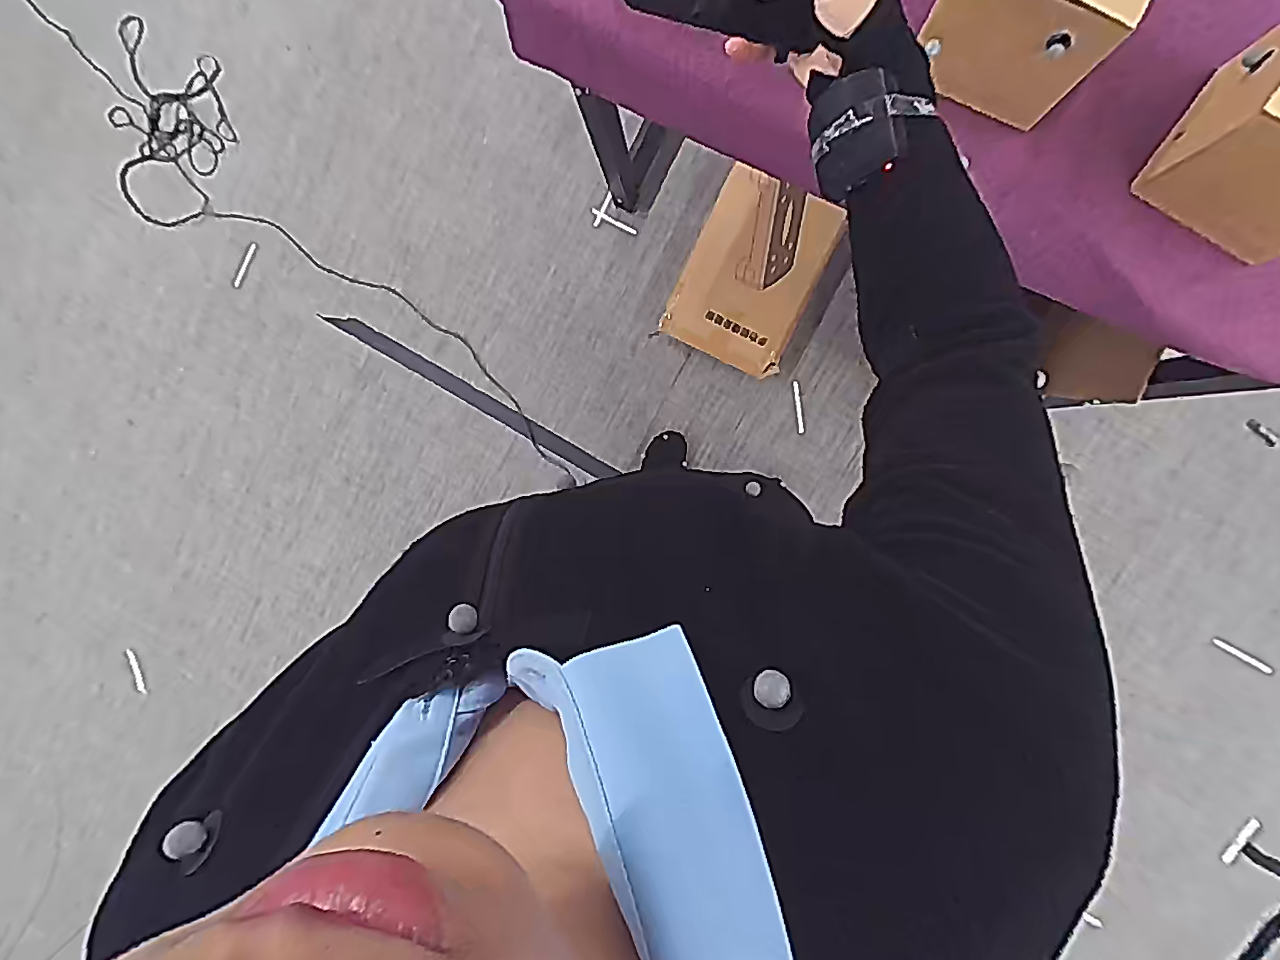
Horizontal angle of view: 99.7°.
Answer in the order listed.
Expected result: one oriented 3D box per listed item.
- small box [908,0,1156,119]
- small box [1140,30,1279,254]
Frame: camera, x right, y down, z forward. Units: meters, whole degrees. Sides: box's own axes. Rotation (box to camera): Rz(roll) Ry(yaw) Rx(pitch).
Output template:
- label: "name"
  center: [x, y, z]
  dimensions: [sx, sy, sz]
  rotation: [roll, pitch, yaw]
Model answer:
- label: "small box"
  center: [0.433, -0.535, 0.581]
  dimensions: [0.179, 0.176, 0.168]
  rotation: [27, 94, 3]
- label: "small box"
  center: [0.704, -0.369, 0.566]
  dimensions: [0.179, 0.176, 0.168]
  rotation: [34, 97, 2]
